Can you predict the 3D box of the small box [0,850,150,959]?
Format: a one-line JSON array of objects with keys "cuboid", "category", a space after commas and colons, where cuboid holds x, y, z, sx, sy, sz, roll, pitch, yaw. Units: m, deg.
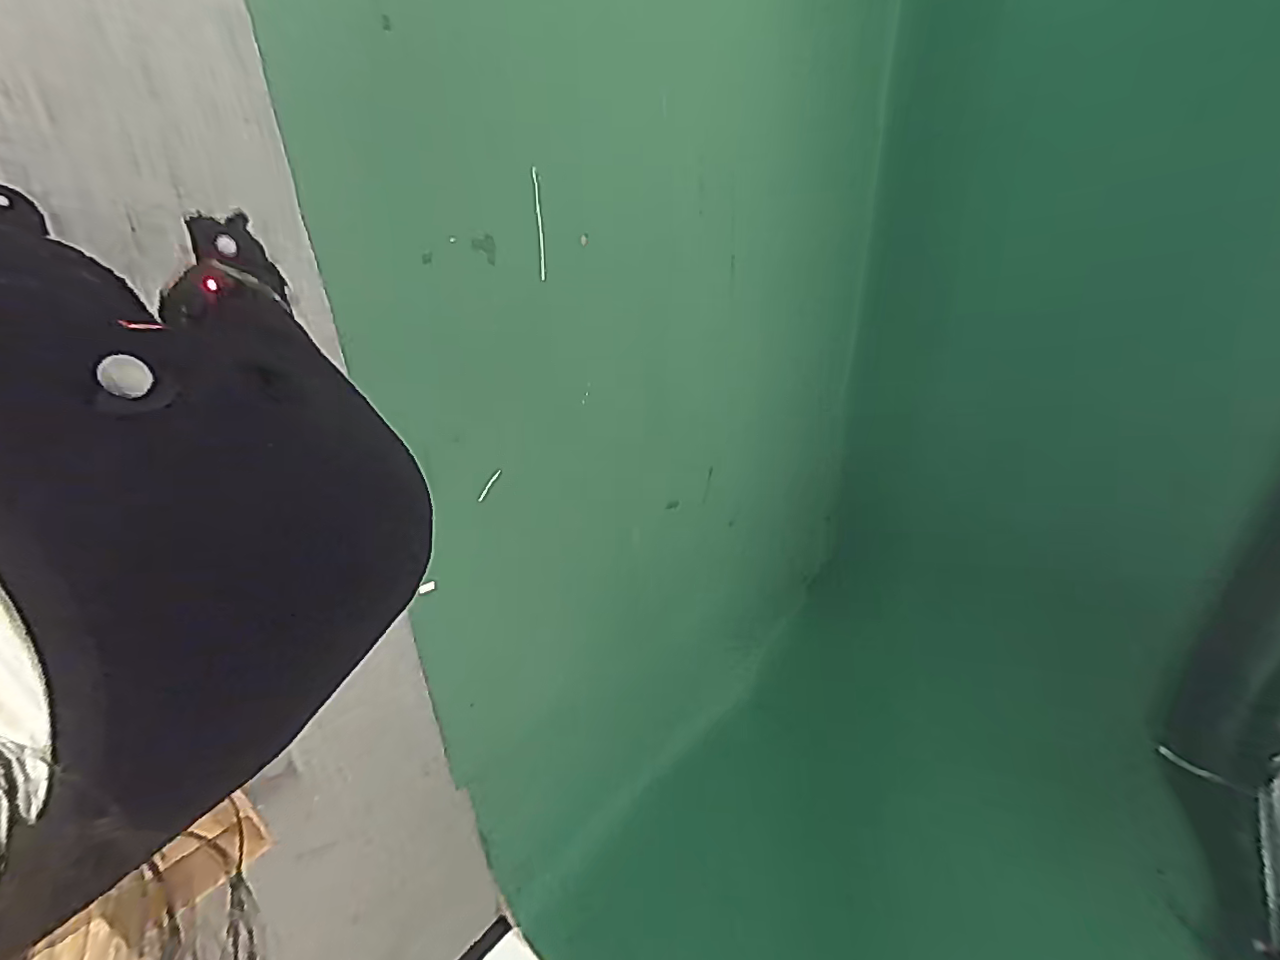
[{"cuboid": [-1.067, 0.839, 1.003, 0.168, 0.176, 0.179, -32, 129, -36], "category": "small box"}]
